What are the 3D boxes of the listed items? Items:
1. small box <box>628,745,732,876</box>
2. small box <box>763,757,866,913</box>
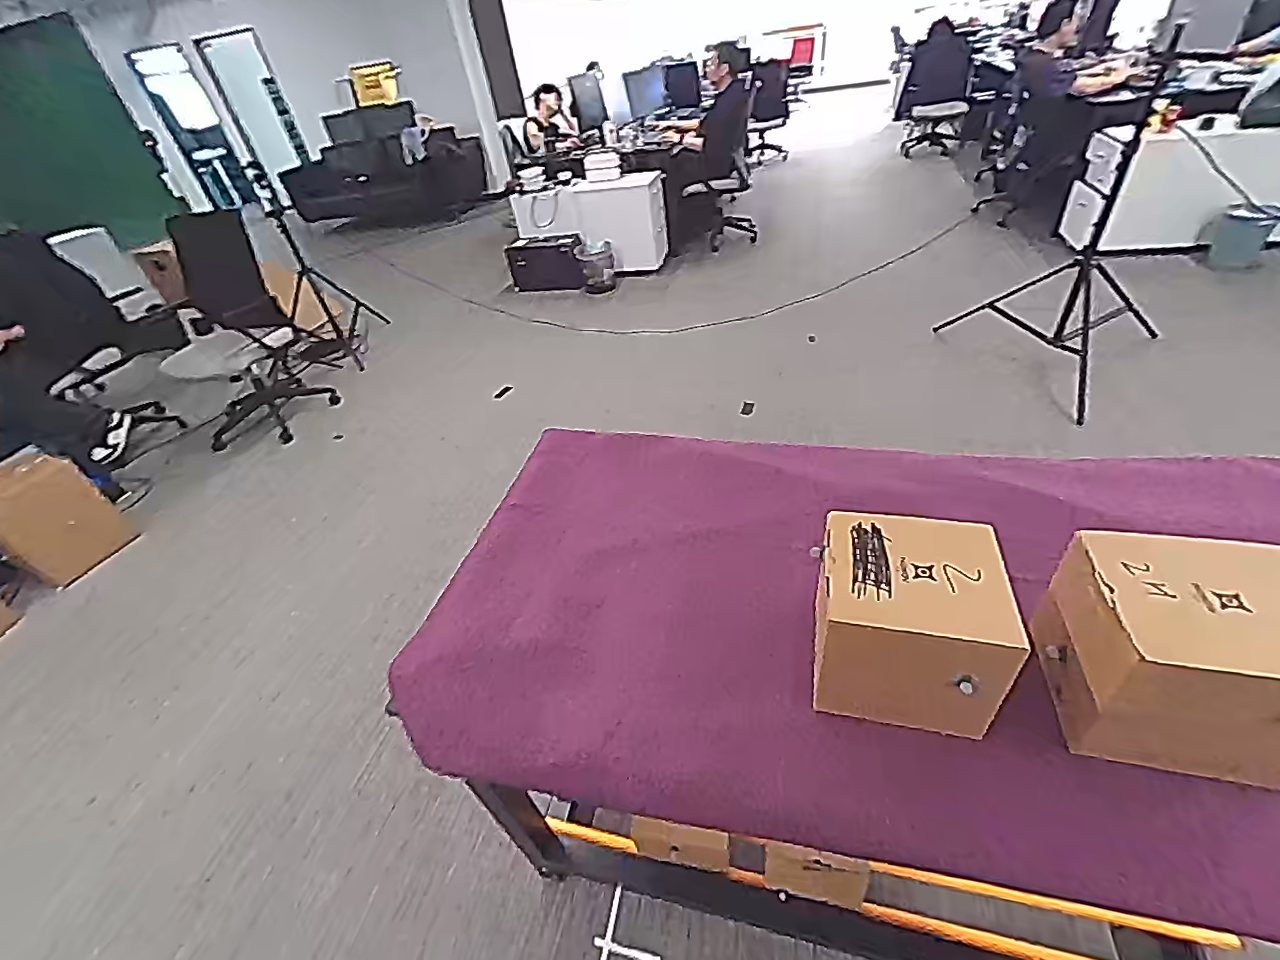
[{"bbox_3d":[0.087,0.645,1.054,0.179,0.176,0.168,1,41,13],"label":"small box"},{"bbox_3d":[0.315,0.651,0.995,0.168,0.176,0.179,3,34,15],"label":"small box"}]
